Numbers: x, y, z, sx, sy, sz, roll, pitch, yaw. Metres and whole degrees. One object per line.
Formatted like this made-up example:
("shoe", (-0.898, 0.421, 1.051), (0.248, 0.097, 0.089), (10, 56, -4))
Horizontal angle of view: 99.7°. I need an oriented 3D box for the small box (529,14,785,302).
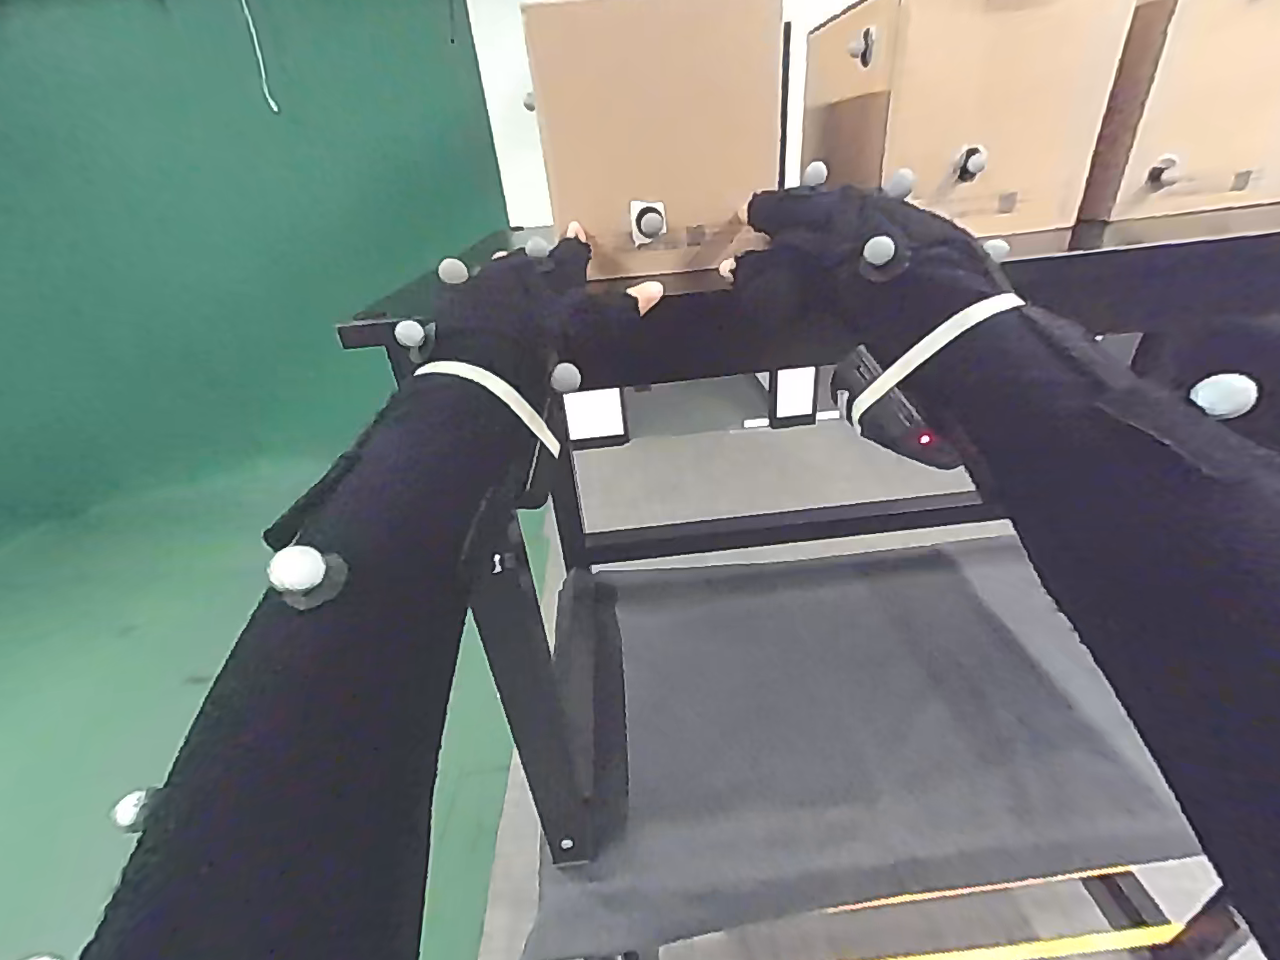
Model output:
("small box", (0.012, -0.254, 0.451), (0.168, 0.176, 0.179), (-7, 31, -1))
